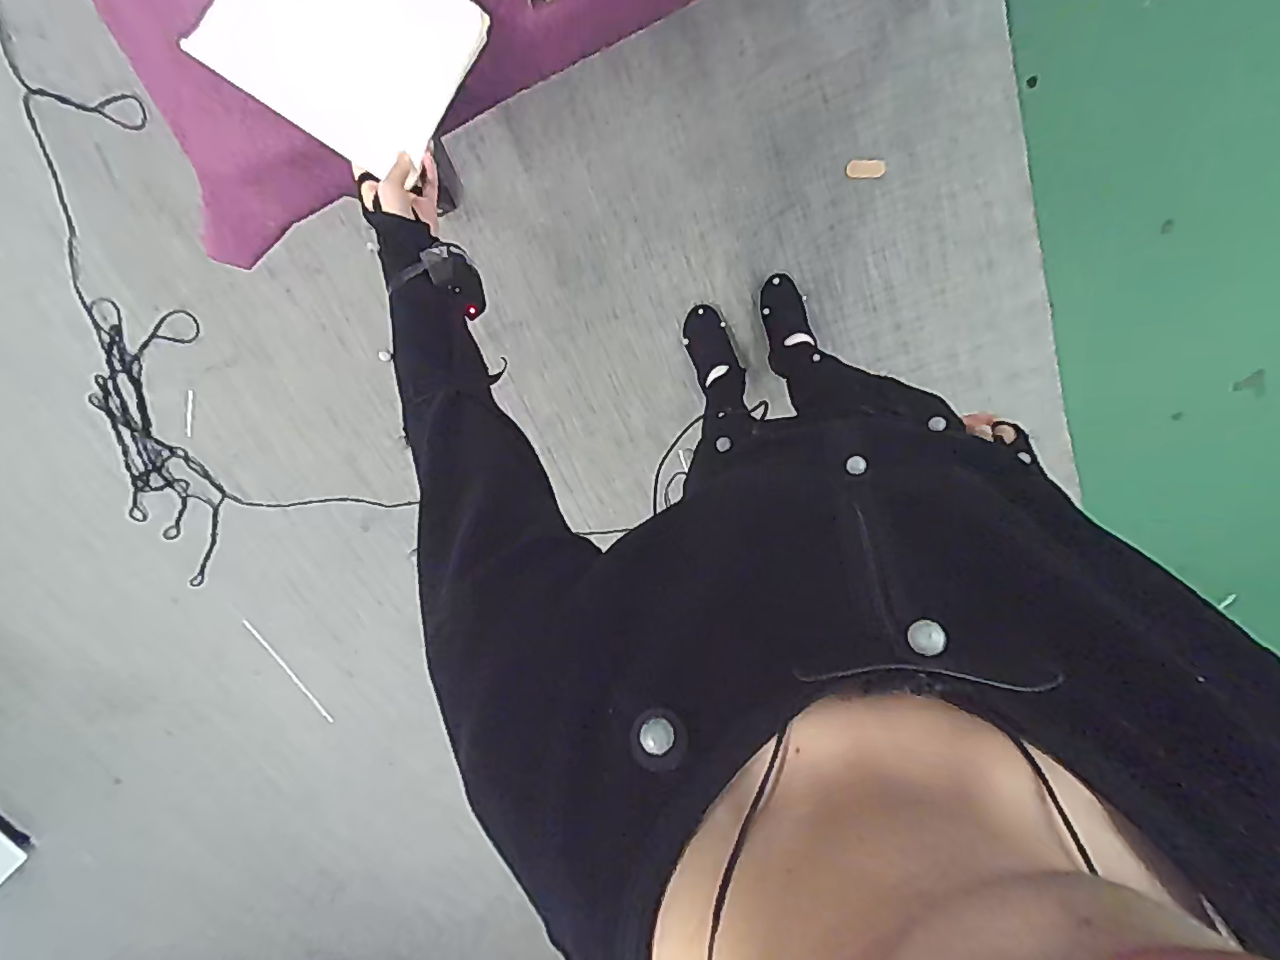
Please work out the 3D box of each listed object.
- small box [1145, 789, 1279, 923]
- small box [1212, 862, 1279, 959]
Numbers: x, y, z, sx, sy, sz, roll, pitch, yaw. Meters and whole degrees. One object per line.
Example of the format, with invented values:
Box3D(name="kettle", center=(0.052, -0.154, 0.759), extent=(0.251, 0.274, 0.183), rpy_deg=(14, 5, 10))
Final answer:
Box3D(name="small box", center=(1.299, 0.831, 1.214), extent=(0.168, 0.176, 0.179), rpy_deg=(-30, 106, 13))
Box3D(name="small box", center=(1.297, 0.889, 1.060), extent=(0.168, 0.176, 0.179), rpy_deg=(-32, 104, 14))
